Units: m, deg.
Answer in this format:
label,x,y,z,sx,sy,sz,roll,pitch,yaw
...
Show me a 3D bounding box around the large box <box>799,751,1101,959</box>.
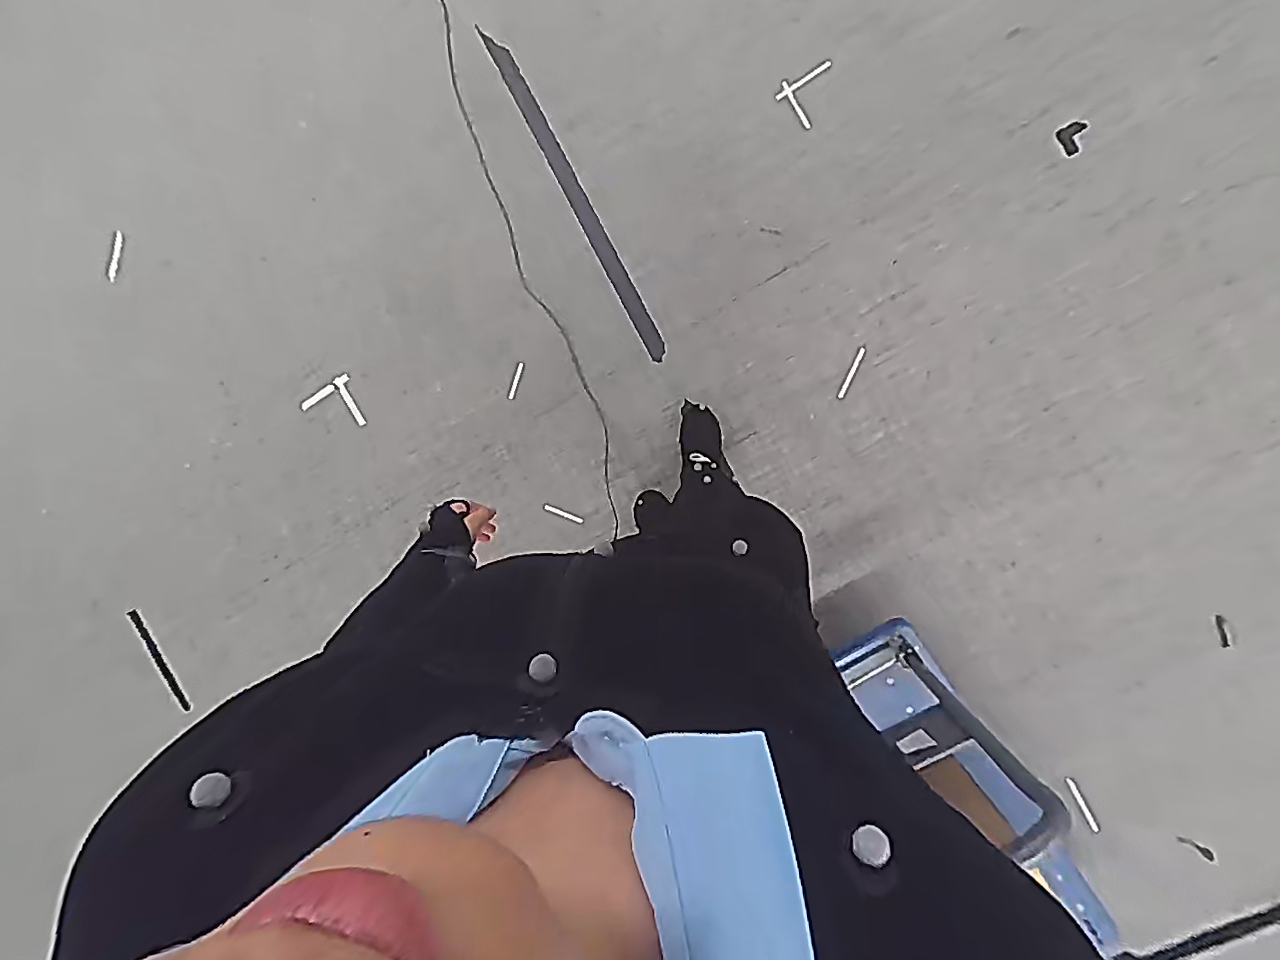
label,x,y,z,sx,sy,sz,roll,pitch,yaw
large box,0.606,0.859,1.124,0.408,0.320,0.320,-33,90,7
